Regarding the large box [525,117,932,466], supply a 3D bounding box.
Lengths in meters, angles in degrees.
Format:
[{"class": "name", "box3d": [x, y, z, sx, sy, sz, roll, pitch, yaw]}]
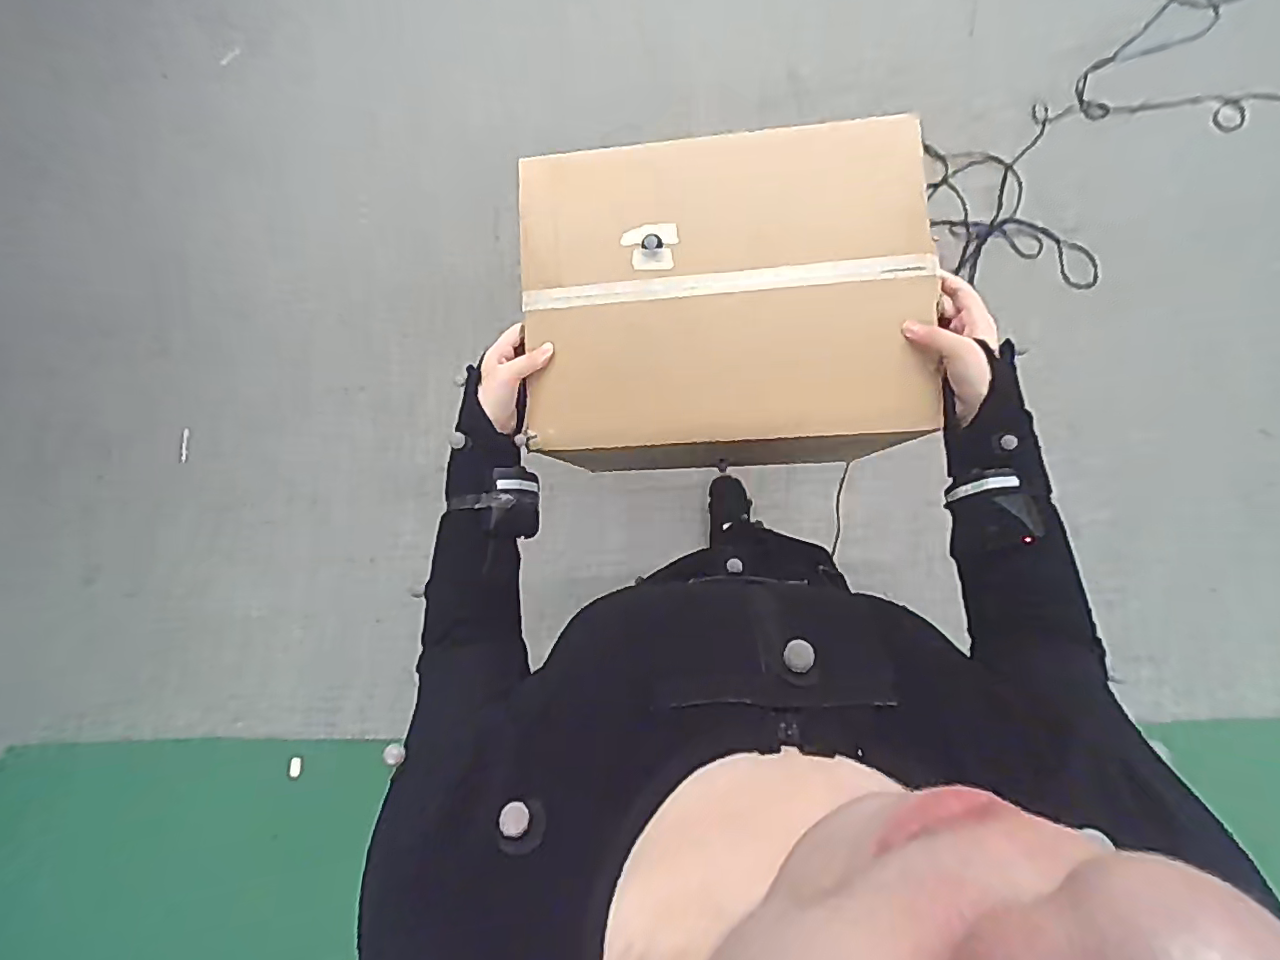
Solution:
[{"class": "large box", "box3d": [0.100, -0.190, 0.701, 0.408, 0.320, 0.320, -3, 86, 8]}]
